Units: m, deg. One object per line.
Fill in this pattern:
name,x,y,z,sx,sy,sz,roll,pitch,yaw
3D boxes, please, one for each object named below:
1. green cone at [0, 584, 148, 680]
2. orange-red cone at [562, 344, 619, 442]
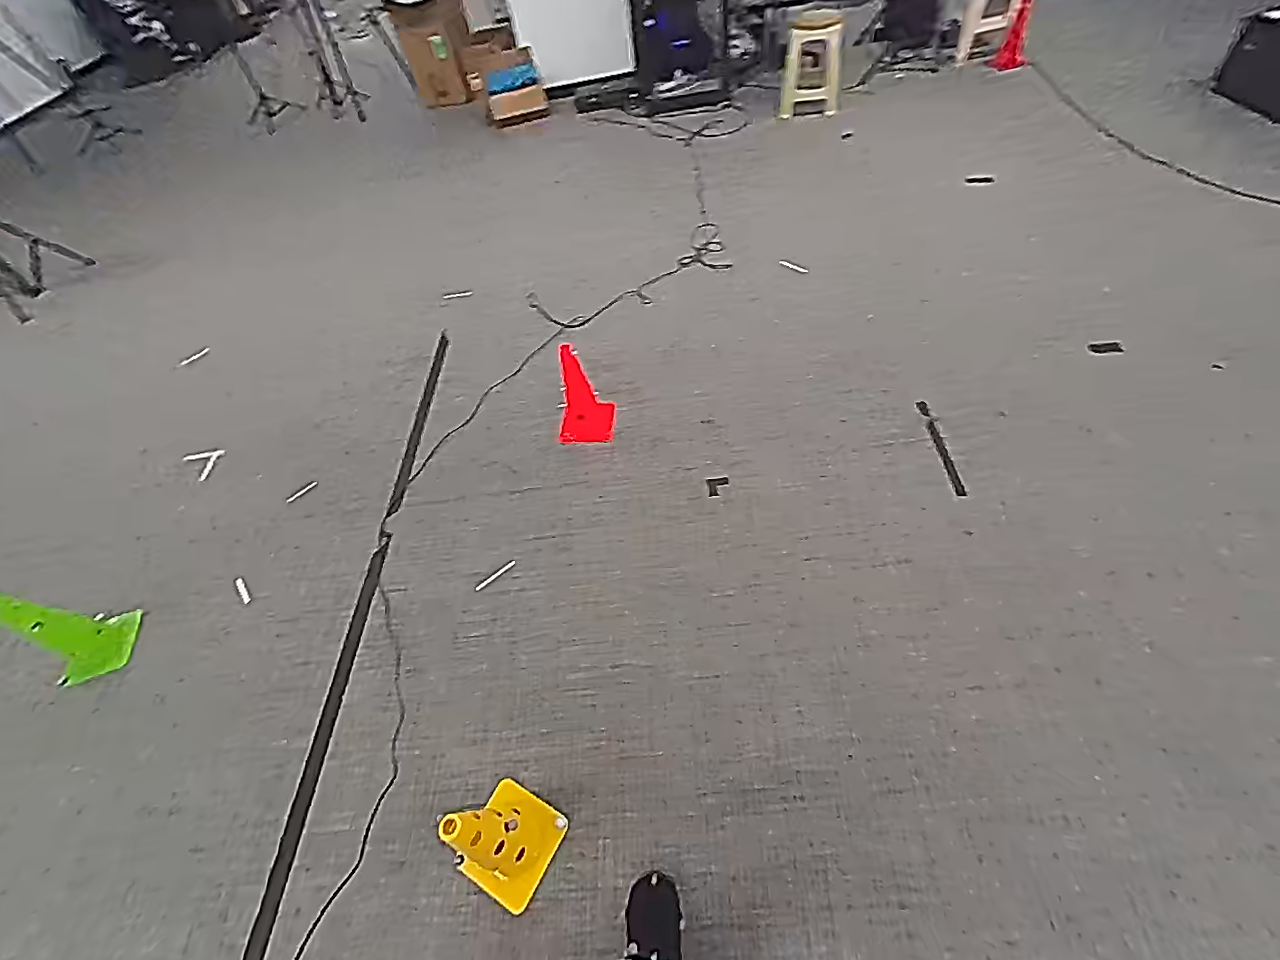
green cone,-1.702,0.407,1.576,0.200,0.368,0.202,-18,51,-5
orange-red cone,-0.206,-0.318,1.874,0.198,0.360,0.199,-1,54,10
